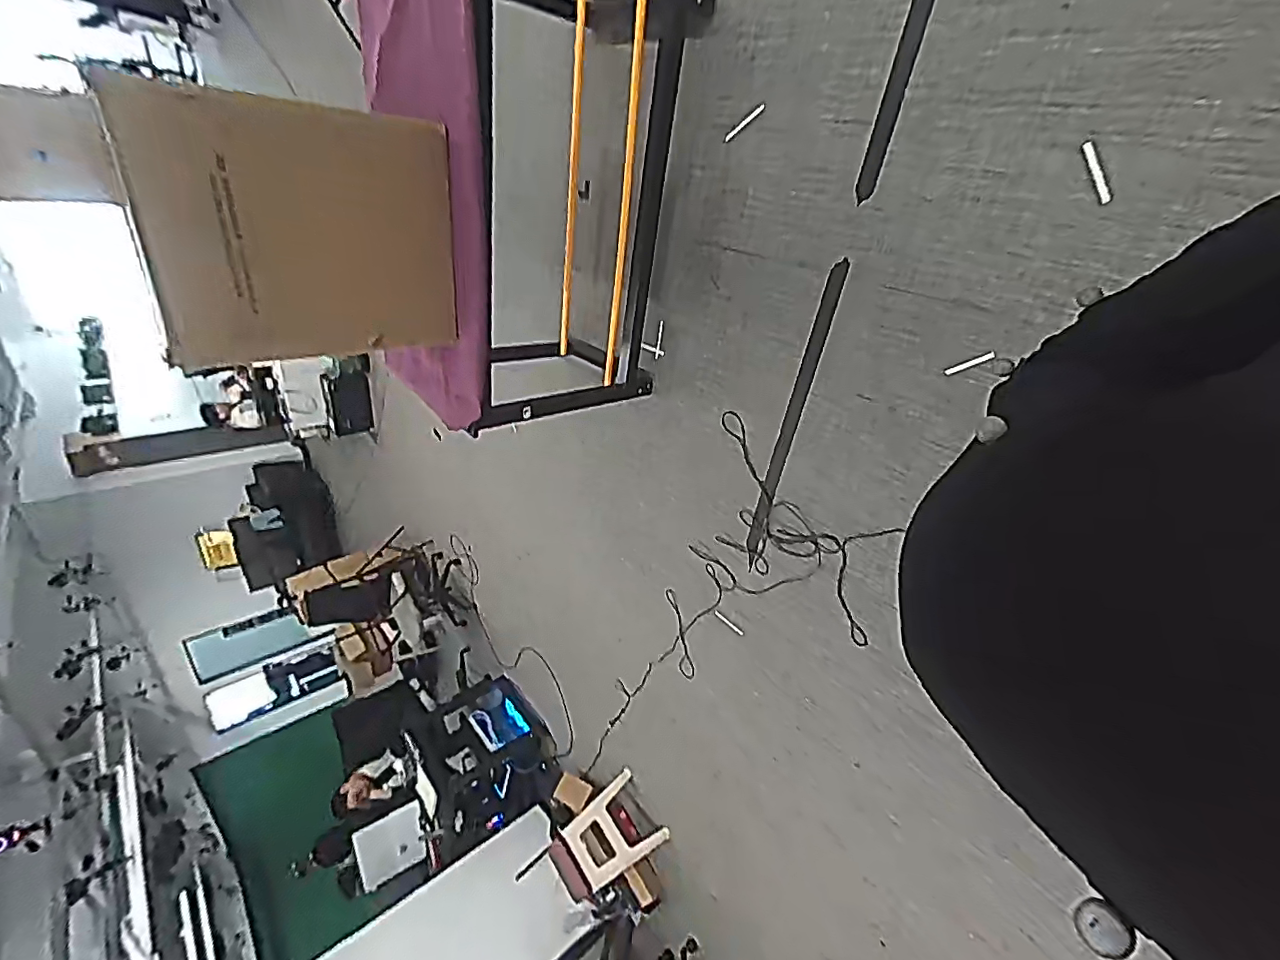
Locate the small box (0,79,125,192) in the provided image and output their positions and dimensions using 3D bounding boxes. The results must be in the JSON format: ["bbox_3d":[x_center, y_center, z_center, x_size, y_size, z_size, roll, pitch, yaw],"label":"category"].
[{"bbox_3d":[-1.162,-0.681,1.073,0.168,0.176,0.179,34,129,39],"label":"small box"}]
